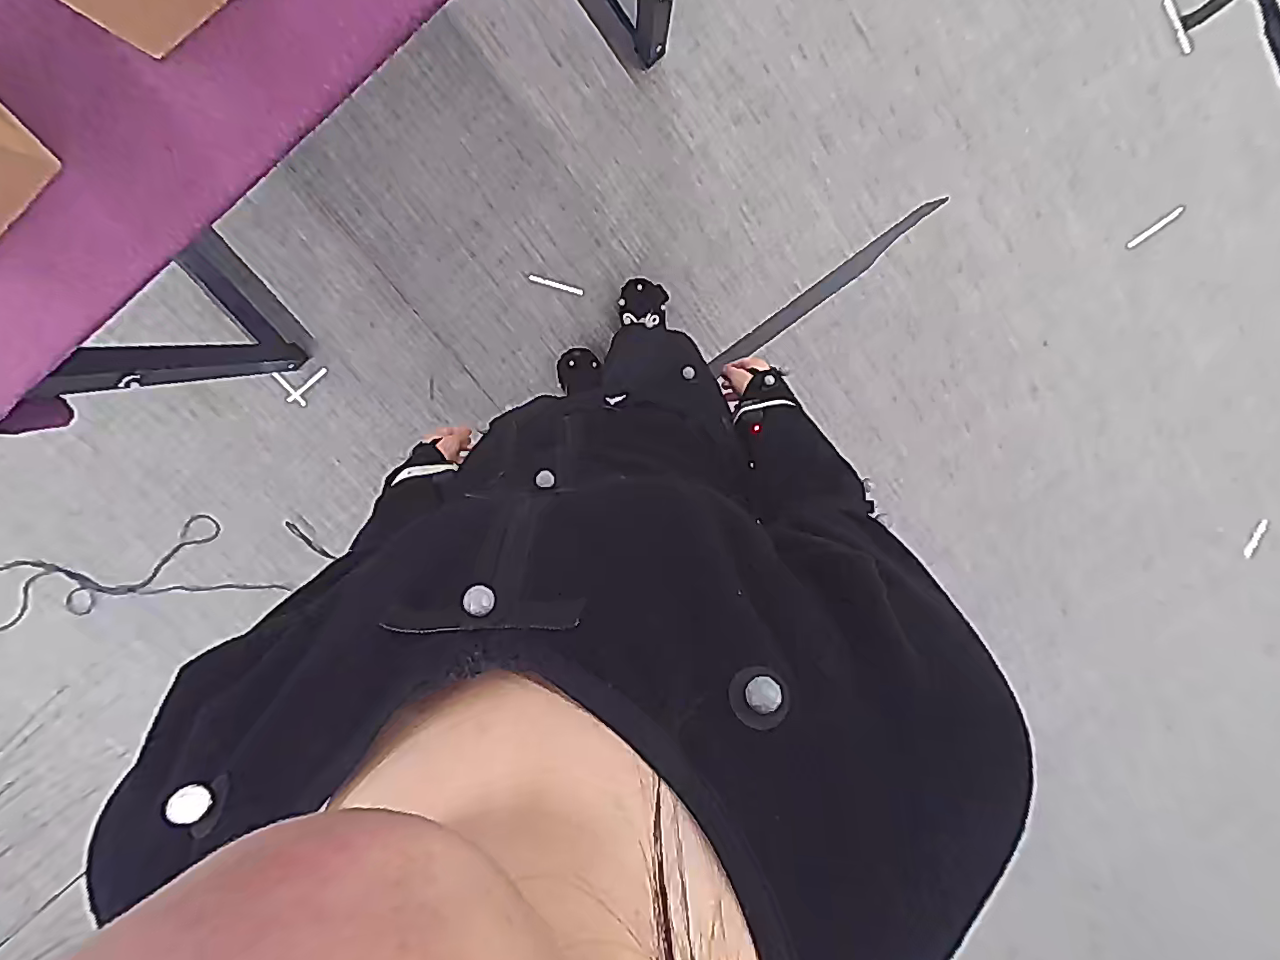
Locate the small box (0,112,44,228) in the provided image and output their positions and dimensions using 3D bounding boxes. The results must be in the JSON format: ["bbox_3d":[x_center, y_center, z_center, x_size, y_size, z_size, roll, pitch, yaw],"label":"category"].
[{"bbox_3d":[-0.778,-0.351,0.536,0.179,0.176,0.168,-39,101,7],"label":"small box"}]
